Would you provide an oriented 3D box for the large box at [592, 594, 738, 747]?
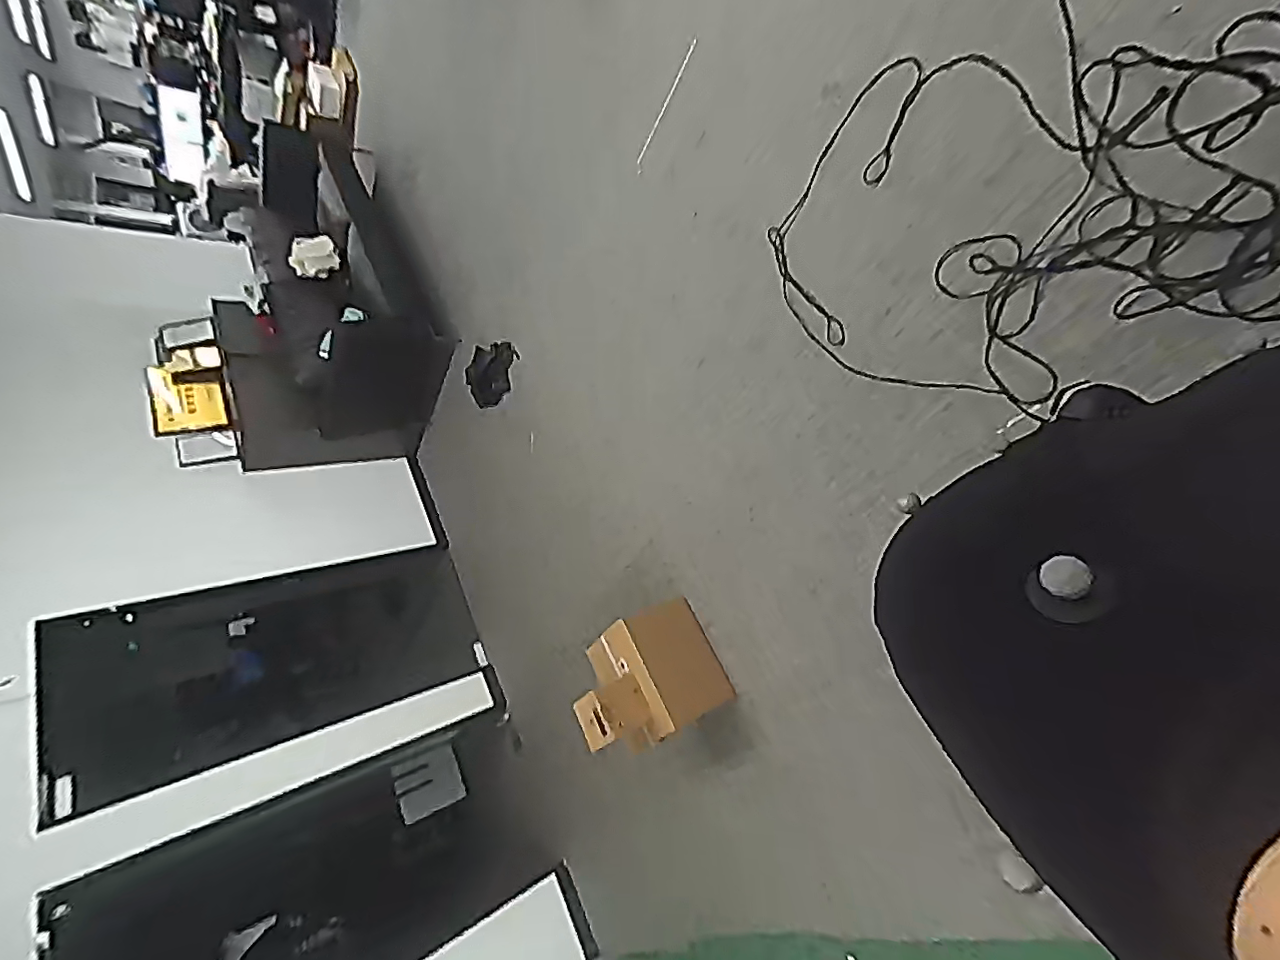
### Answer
[{"bbox_3d":[0.085,0.696,2.002,0.320,0.320,0.408,-51,58,41],"label":"large box"}]
